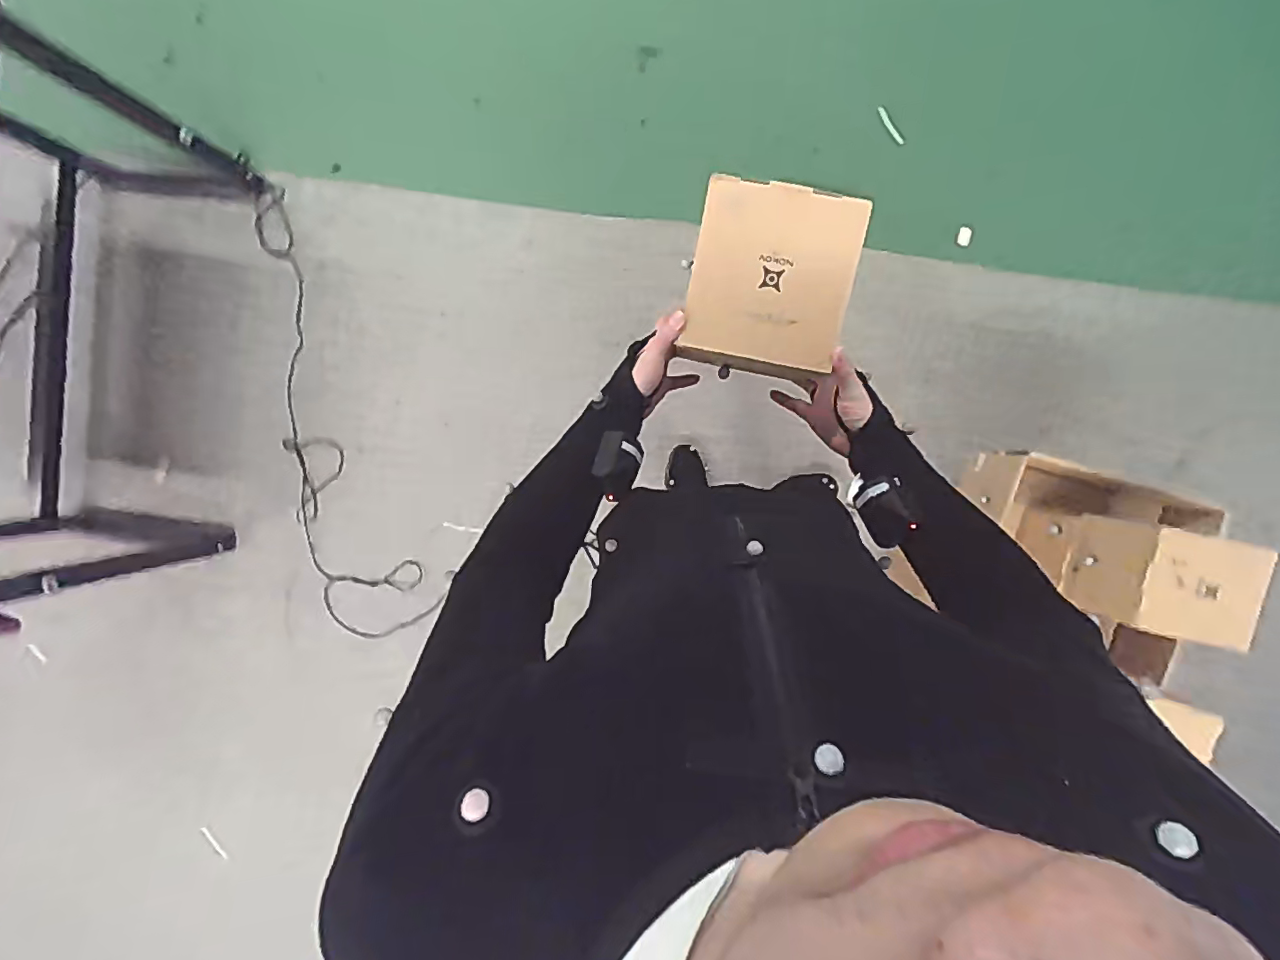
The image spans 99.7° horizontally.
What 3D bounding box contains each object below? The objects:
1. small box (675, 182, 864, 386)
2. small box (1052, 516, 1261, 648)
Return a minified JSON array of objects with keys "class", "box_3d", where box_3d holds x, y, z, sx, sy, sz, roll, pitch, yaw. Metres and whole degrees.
[{"class":"small box","box_3d":[0.136,-0.214,0.637,0.168,0.176,0.179,11,99,2]},{"class":"small box","box_3d":[0.878,0.166,0.938,0.179,0.176,0.168,13,95,2]}]
